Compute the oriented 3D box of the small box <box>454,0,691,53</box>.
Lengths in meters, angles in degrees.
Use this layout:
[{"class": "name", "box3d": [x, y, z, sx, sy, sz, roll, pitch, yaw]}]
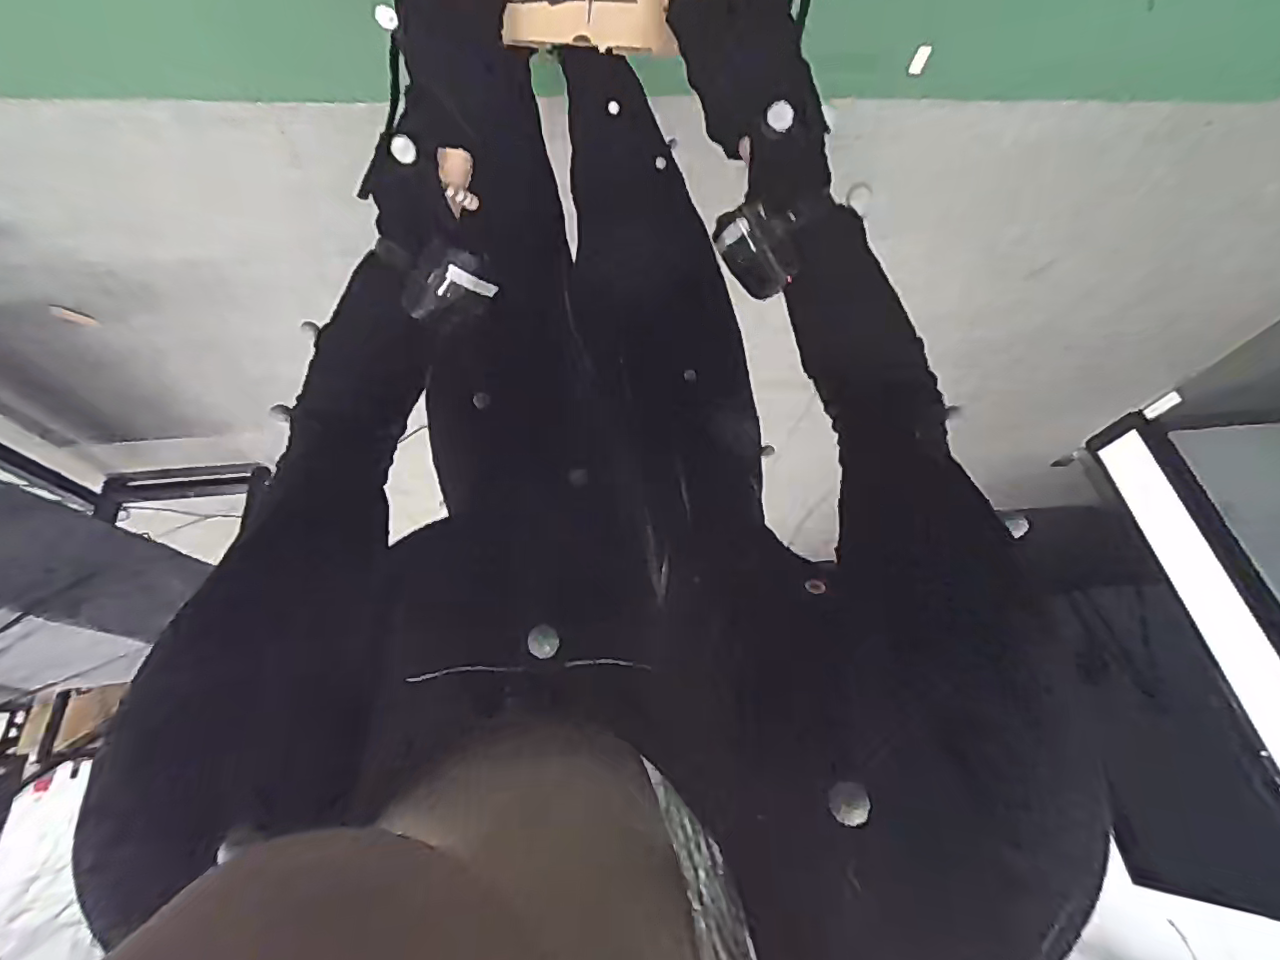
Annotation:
[{"class": "small box", "box3d": [-0.049, -0.430, 0.359, 0.168, 0.176, 0.179, -5, 150, -10]}]
